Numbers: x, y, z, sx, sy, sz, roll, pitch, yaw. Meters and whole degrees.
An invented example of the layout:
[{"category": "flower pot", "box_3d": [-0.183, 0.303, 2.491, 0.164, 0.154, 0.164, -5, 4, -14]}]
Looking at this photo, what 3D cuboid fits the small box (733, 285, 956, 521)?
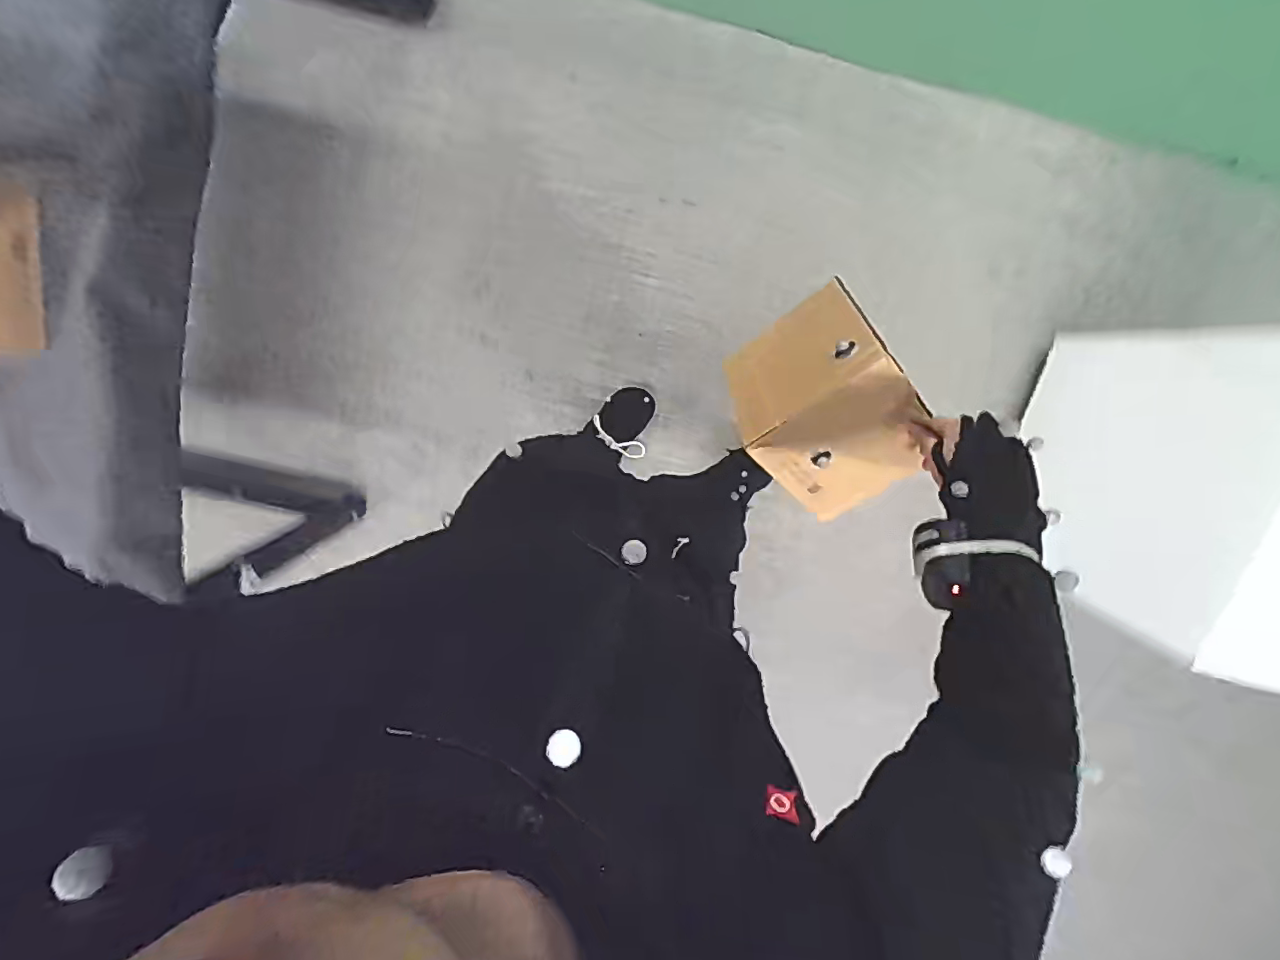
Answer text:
[{"category": "small box", "box_3d": [0.227, -0.085, 0.640, 0.176, 0.179, 0.168, -33, 127, 27]}]
